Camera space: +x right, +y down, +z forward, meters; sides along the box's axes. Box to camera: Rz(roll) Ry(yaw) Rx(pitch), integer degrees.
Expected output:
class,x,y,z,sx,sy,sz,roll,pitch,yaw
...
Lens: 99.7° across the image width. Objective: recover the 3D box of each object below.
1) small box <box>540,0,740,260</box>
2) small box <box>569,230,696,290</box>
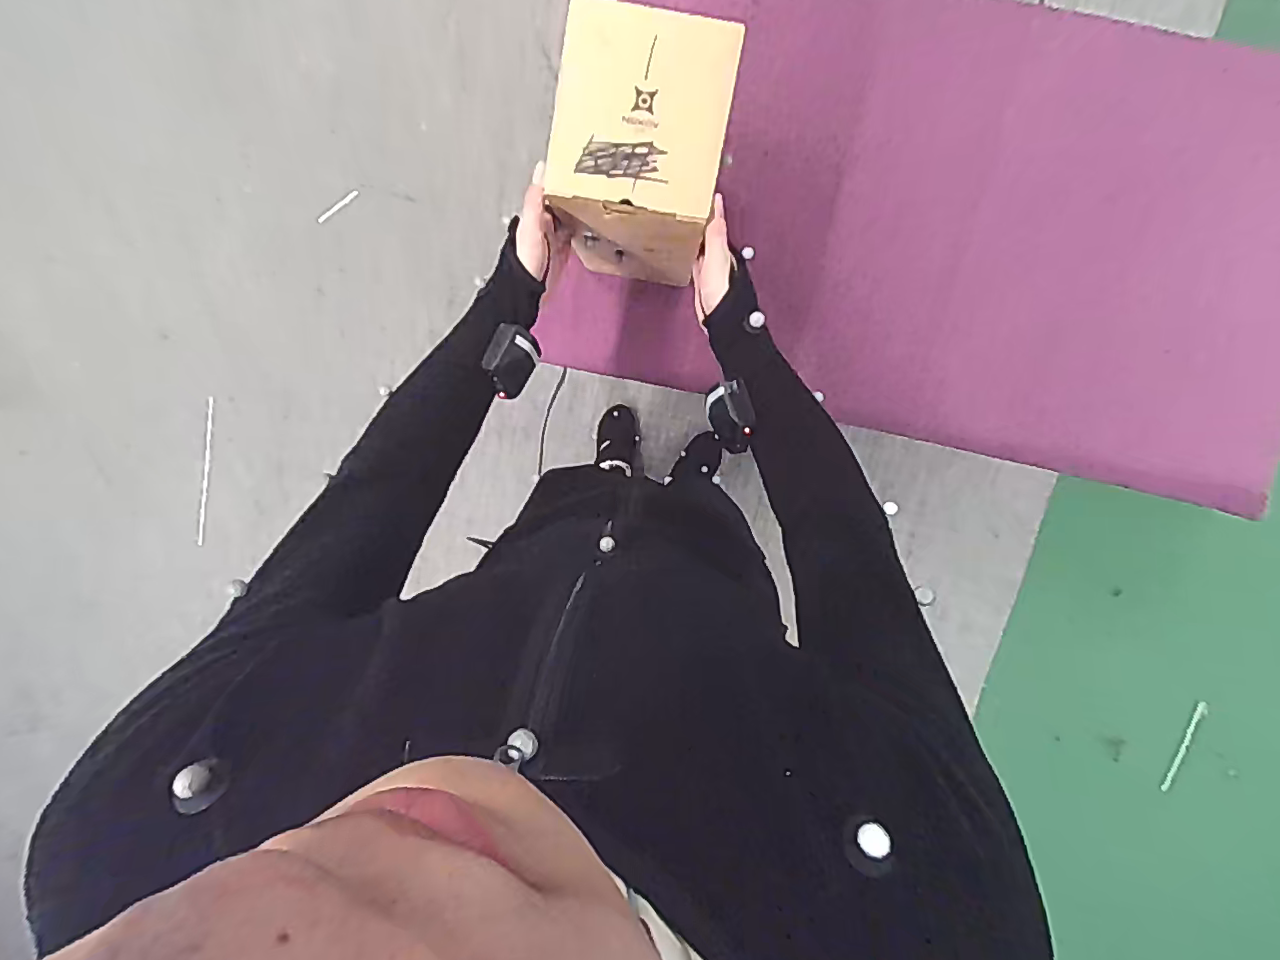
class,x,y,z,sx,sy,sz,roll,pitch,yaw
small box,0.001,-0.356,0.588,0.168,0.176,0.179,11,99,1
small box,0.007,-0.382,0.751,0.168,0.176,0.179,11,98,1
